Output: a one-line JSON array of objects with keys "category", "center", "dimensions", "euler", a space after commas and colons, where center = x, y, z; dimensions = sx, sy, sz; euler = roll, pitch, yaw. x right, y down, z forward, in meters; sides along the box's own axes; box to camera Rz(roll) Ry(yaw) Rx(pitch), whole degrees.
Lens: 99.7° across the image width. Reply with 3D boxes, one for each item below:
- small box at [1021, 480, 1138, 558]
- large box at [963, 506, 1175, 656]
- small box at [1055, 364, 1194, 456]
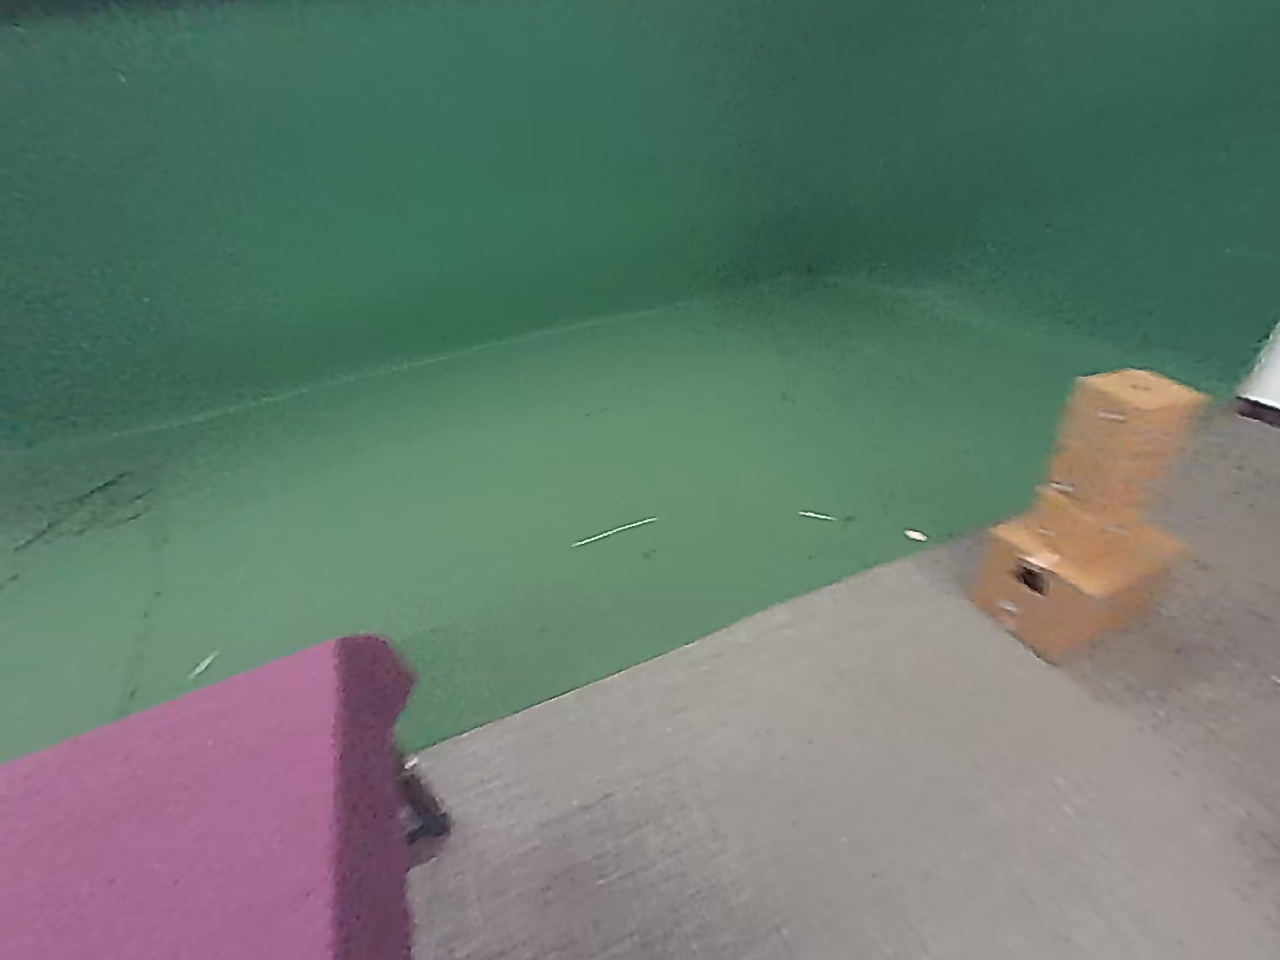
[{"category": "small box", "center": [1.248, 0.099, 1.552], "dimensions": [0.179, 0.176, 0.168], "euler": [-12, 36, -6]}, {"category": "large box", "center": [1.322, 0.280, 1.704], "dimensions": [0.408, 0.320, 0.320], "euler": [-18, 38, -16]}, {"category": "small box", "center": [1.214, -0.172, 1.372], "dimensions": [0.168, 0.176, 0.179], "euler": [-10, 36, -3]}]
